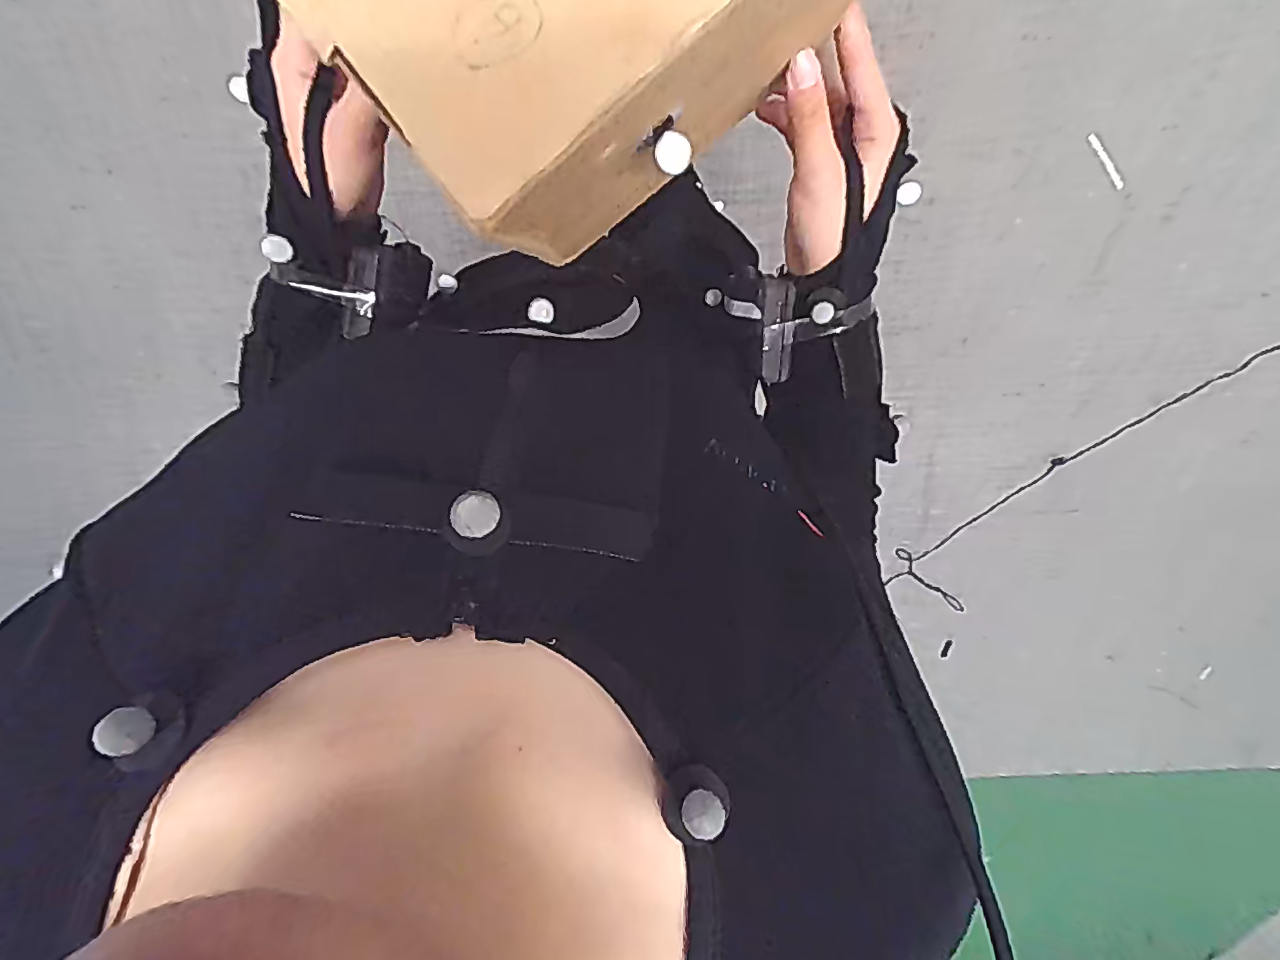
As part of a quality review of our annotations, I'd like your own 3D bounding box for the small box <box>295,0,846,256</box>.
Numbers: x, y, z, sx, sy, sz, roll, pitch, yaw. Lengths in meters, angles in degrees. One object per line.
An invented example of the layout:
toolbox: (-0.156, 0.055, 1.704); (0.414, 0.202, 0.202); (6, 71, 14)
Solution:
small box: (-0.025, -0.208, 0.205); (0.179, 0.176, 0.168); (-34, 104, 12)
